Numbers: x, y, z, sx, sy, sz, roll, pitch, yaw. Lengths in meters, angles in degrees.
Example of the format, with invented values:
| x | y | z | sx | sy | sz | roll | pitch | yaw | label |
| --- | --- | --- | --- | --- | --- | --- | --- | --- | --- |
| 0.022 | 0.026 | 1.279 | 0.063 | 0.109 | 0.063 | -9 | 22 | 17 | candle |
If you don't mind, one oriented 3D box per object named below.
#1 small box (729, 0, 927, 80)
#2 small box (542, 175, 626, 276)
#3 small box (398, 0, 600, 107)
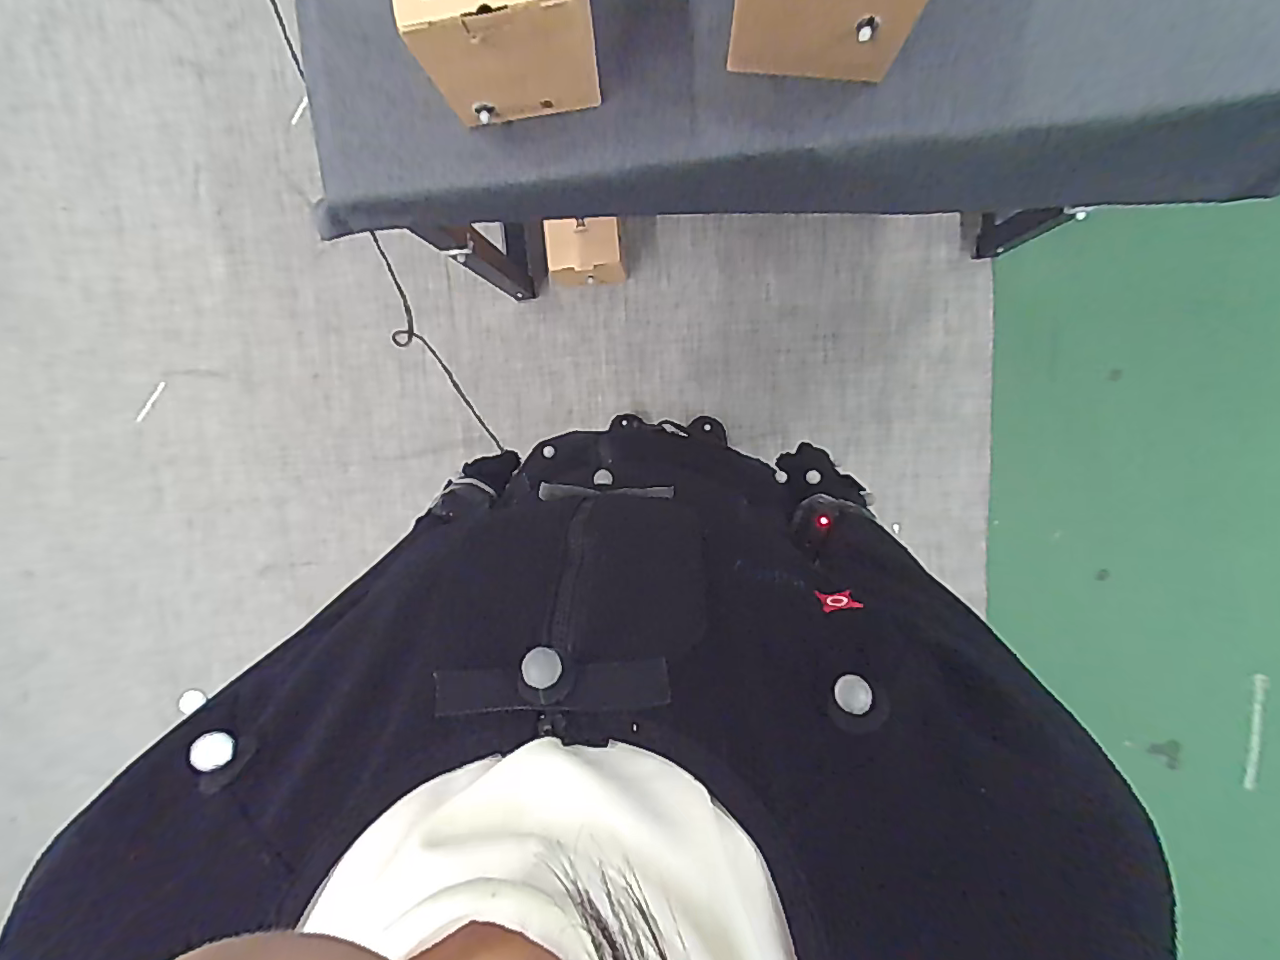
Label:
| x | y | z | sx | sy | sz | roll | pitch | yaw | label |
| --- | --- | --- | --- | --- | --- | --- | --- | --- | --- |
| 0.191 | -0.532 | 0.531 | 0.179 | 0.176 | 0.168 | 7 | 97 | 4 | small box |
| -0.125 | -0.591 | 1.282 | 0.168 | 0.176 | 0.179 | -3 | 98 | 5 | small box |
| -0.138 | -0.516 | 0.553 | 0.168 | 0.176 | 0.179 | -5 | 96 | 4 | small box |
